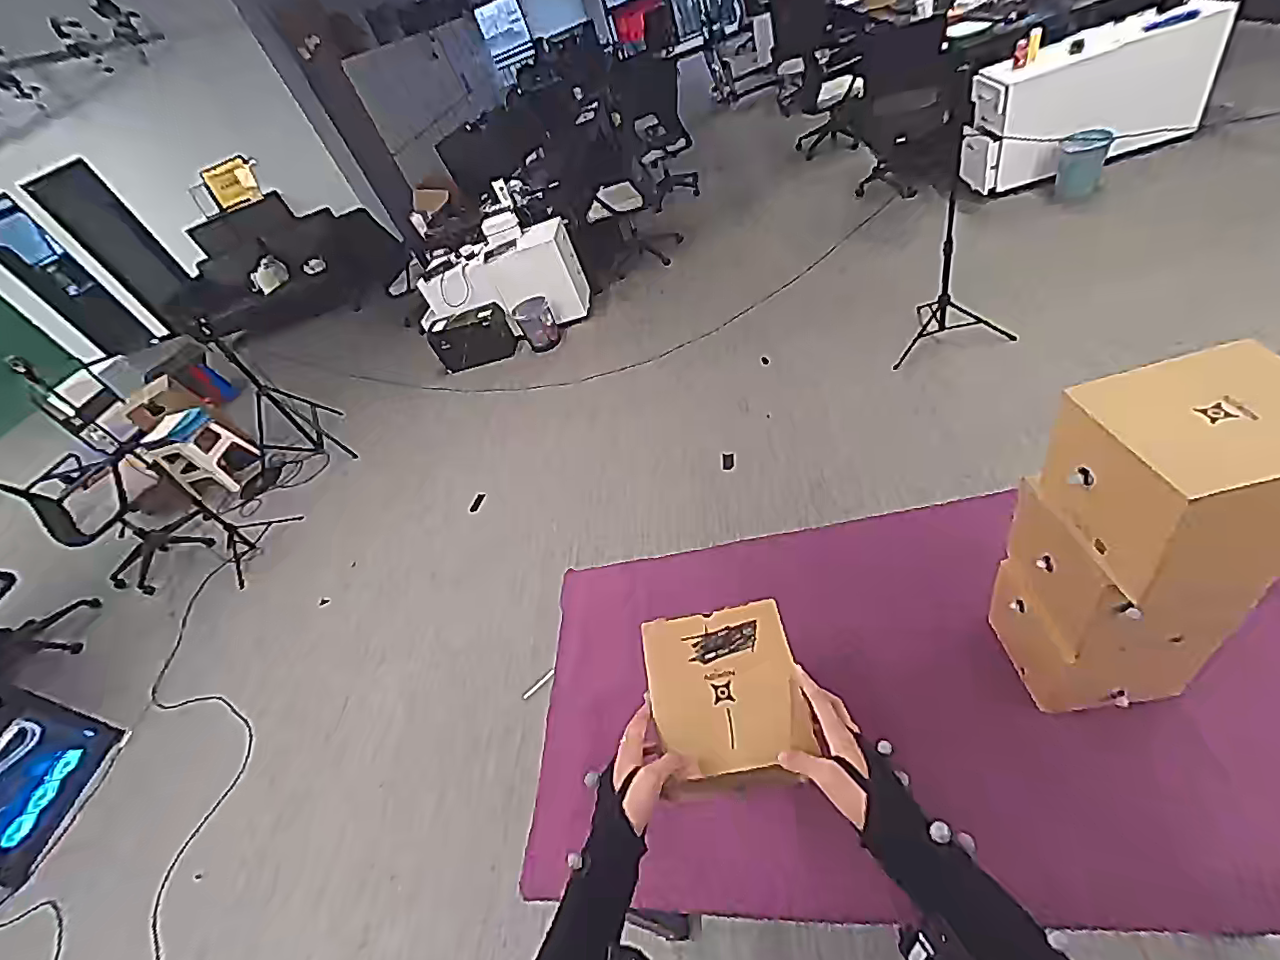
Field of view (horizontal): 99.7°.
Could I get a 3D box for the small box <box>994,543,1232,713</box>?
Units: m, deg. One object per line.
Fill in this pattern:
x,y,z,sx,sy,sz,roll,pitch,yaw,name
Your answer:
0.635,0.206,0.759,0.179,0.176,0.168,-14,42,11,small box

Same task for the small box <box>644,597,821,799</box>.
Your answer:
0.106,0.268,0.655,0.168,0.176,0.179,-12,53,5,small box

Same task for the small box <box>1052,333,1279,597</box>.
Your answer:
0.544,-0.009,0.528,0.179,0.176,0.168,-16,42,9,small box
